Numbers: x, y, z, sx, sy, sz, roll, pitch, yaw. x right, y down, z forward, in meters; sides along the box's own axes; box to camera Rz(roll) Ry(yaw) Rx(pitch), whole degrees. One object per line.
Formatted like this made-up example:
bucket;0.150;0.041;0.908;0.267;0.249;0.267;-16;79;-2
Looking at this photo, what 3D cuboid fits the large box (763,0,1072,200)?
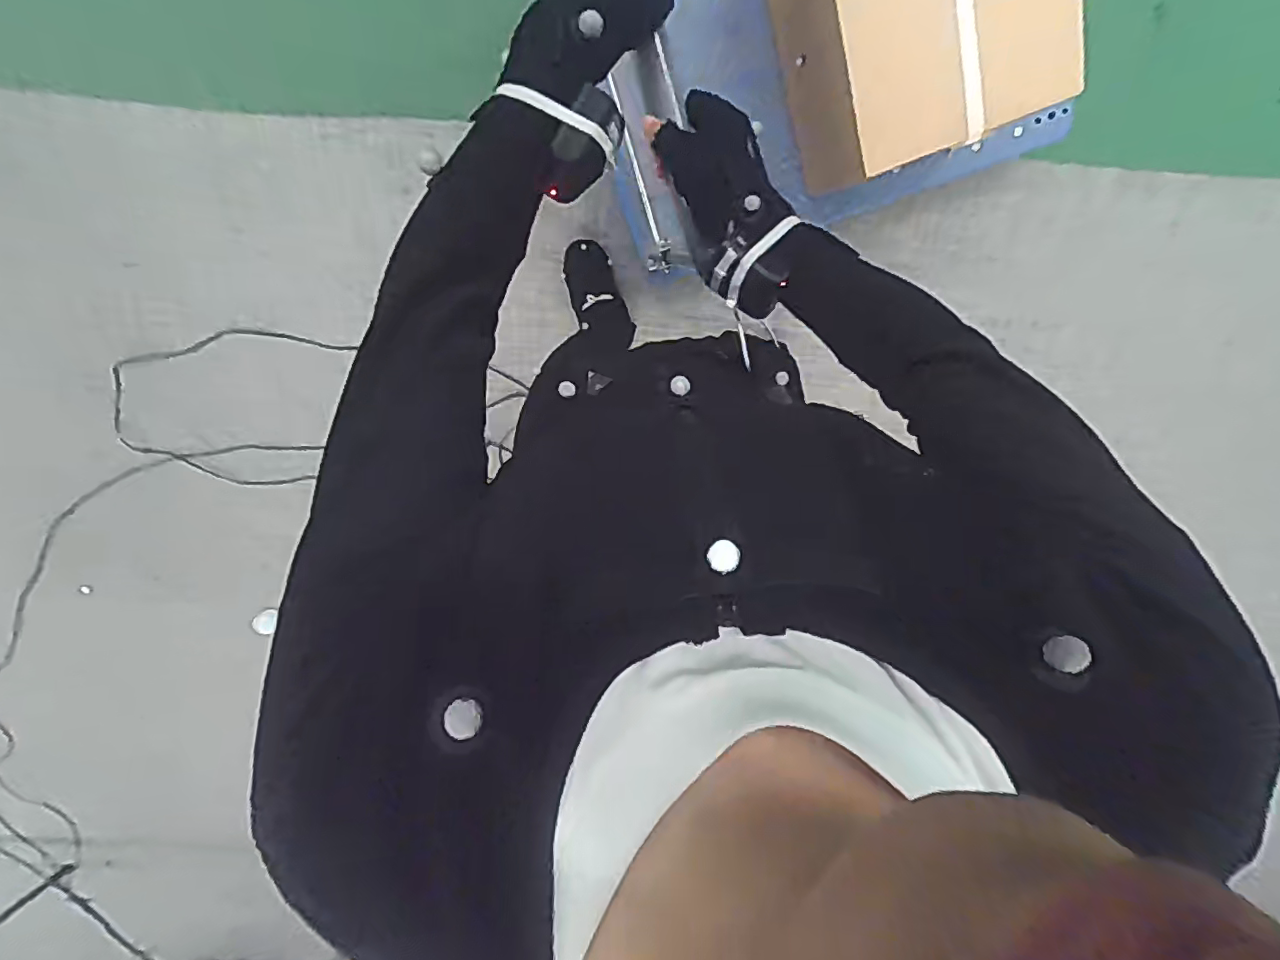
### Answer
large box;0.413;-0.728;0.869;0.320;0.320;0.408;-19;111;7
